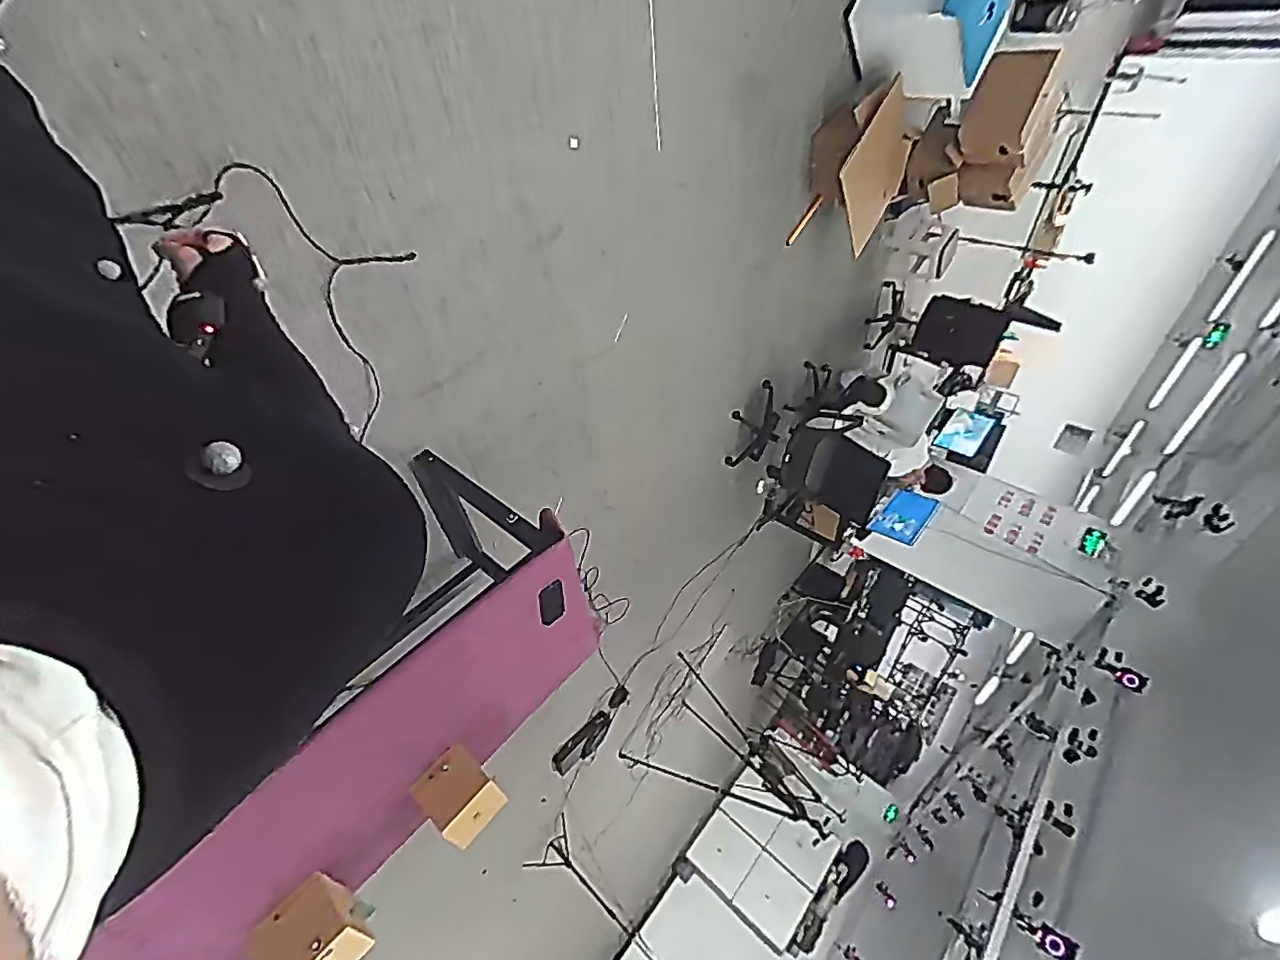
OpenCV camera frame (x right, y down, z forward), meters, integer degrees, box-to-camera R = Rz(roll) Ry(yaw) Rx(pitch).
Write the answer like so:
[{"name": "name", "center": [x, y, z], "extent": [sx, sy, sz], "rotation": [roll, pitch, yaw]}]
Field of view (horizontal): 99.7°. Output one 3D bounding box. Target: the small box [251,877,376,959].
[{"name": "small box", "center": [-0.772, 1.094, 1.283], "extent": [0.168, 0.176, 0.179], "rotation": [-39, 142, -33]}]

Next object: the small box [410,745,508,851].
[{"name": "small box", "center": [-0.501, 0.879, 1.506], "extent": [0.168, 0.176, 0.179], "rotation": [-42, 142, -30]}]
